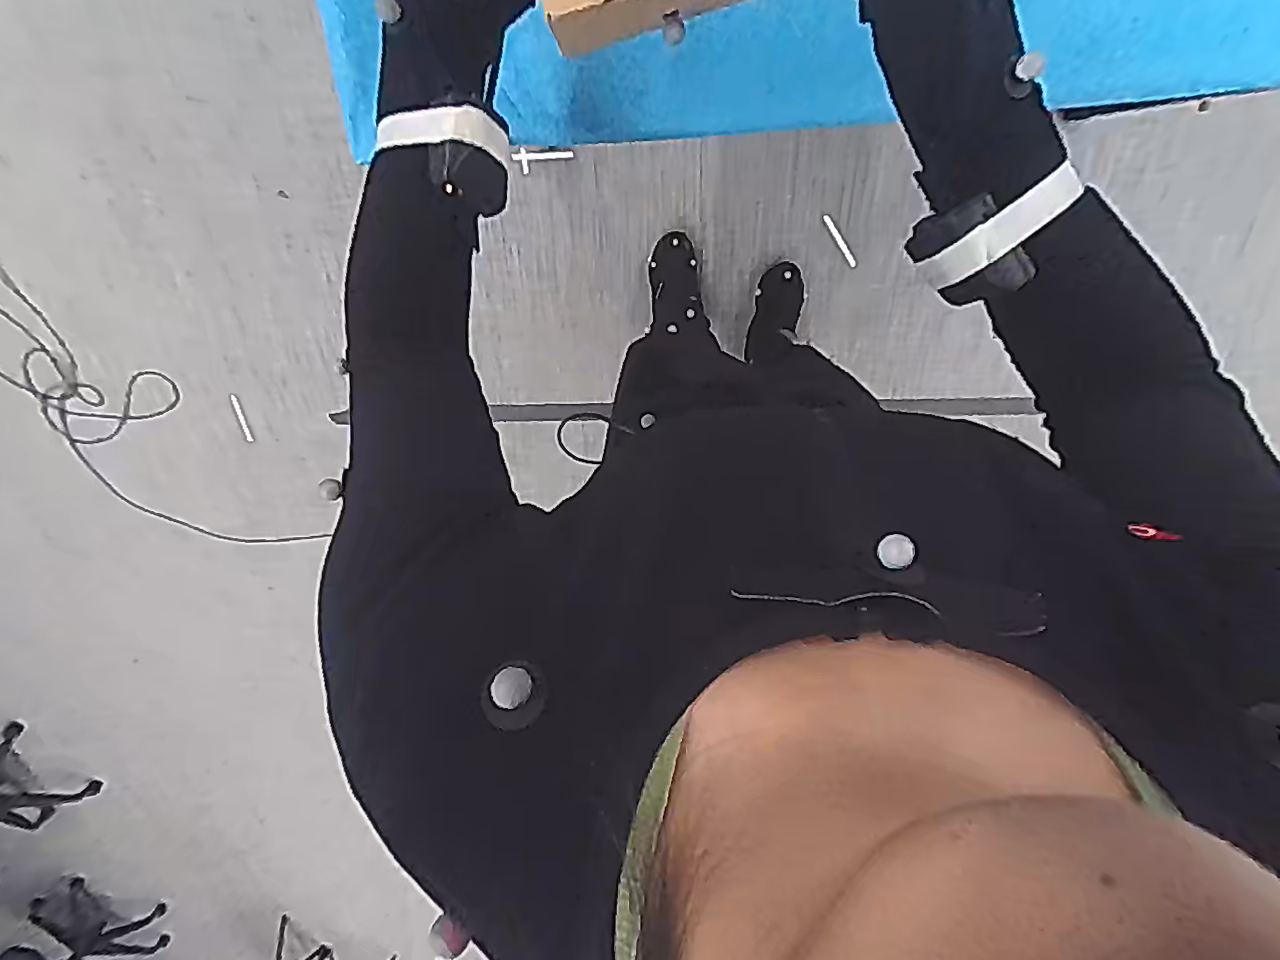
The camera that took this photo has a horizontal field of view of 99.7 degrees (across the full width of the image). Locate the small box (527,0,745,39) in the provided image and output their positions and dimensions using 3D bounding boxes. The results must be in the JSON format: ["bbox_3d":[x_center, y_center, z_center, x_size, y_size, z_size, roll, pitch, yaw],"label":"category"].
[{"bbox_3d":[0.001,-0.382,0.307,0.168,0.176,0.179,-9,126,4],"label":"small box"}]
